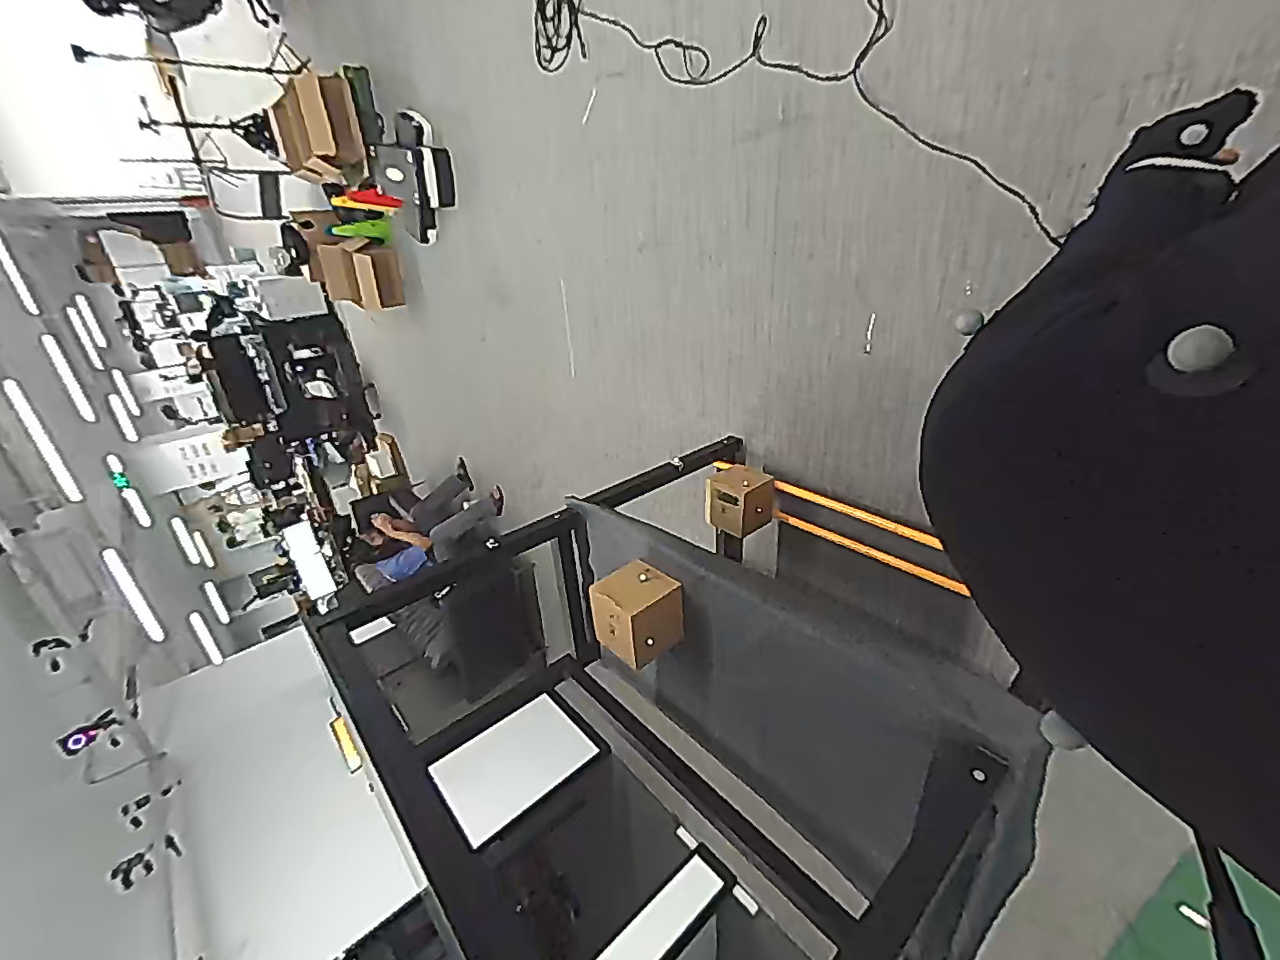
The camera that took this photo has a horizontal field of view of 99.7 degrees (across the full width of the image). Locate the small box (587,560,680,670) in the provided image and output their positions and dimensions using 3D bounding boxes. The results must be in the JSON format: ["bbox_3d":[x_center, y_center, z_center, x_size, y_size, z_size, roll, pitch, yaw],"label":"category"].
[{"bbox_3d":[-0.011,0.332,1.361,0.168,0.176,0.179,23,127,43],"label":"small box"}]
